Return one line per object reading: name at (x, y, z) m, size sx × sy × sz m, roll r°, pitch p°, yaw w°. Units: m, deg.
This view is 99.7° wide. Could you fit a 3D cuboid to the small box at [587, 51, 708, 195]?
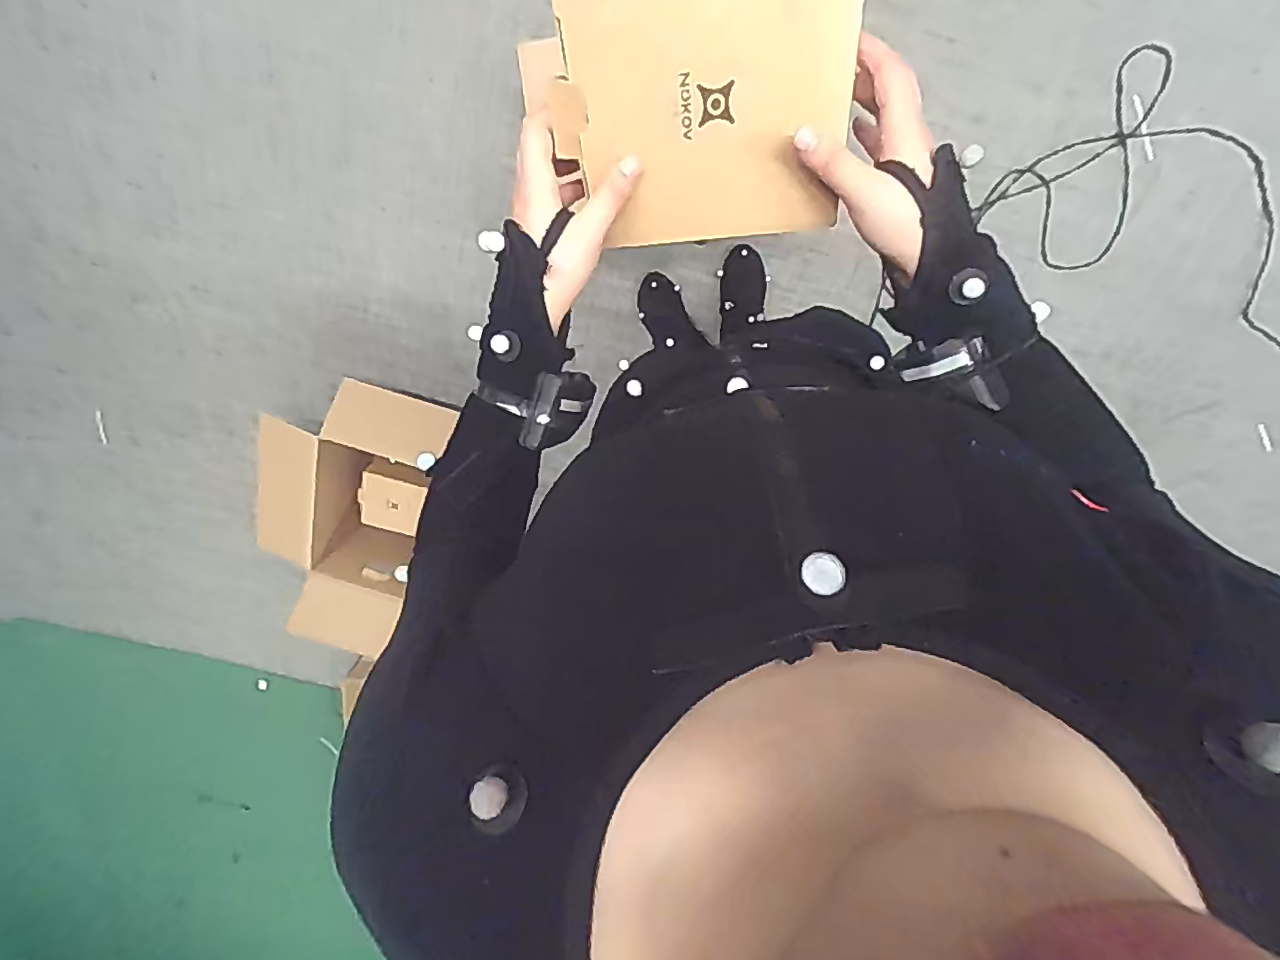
small box at (0.022, -0.570, 0.887) m, size 0.179 × 0.176 × 0.168 m, roll -3°, pitch 116°, yaw 6°
